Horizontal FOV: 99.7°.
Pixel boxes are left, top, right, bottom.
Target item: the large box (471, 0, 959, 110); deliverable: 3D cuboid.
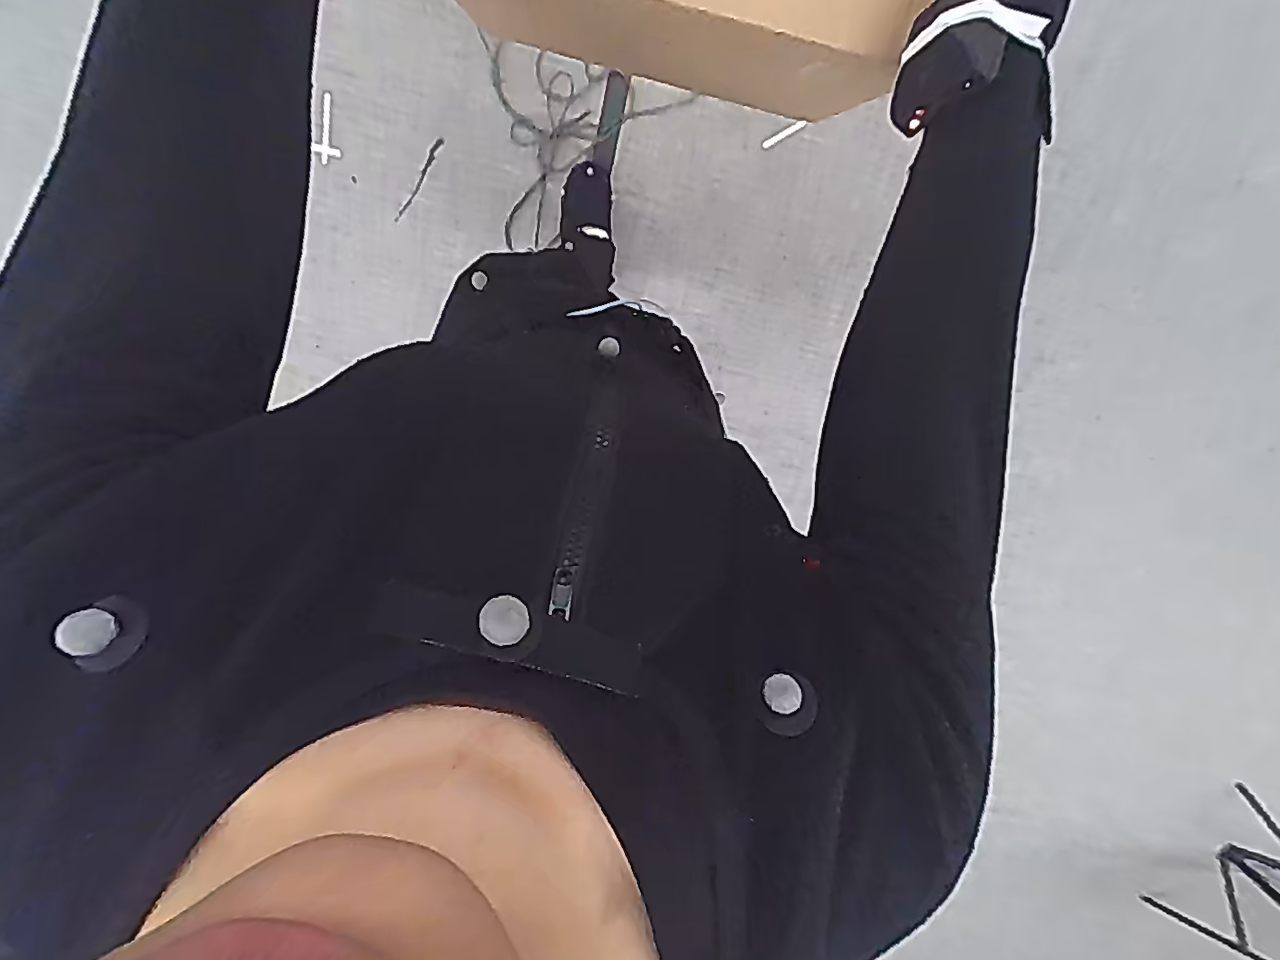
[{"bbox_3d":[0.053,-0.544,0.438,0.408,0.320,0.320,11,119,-6],"label":"large box"}]
